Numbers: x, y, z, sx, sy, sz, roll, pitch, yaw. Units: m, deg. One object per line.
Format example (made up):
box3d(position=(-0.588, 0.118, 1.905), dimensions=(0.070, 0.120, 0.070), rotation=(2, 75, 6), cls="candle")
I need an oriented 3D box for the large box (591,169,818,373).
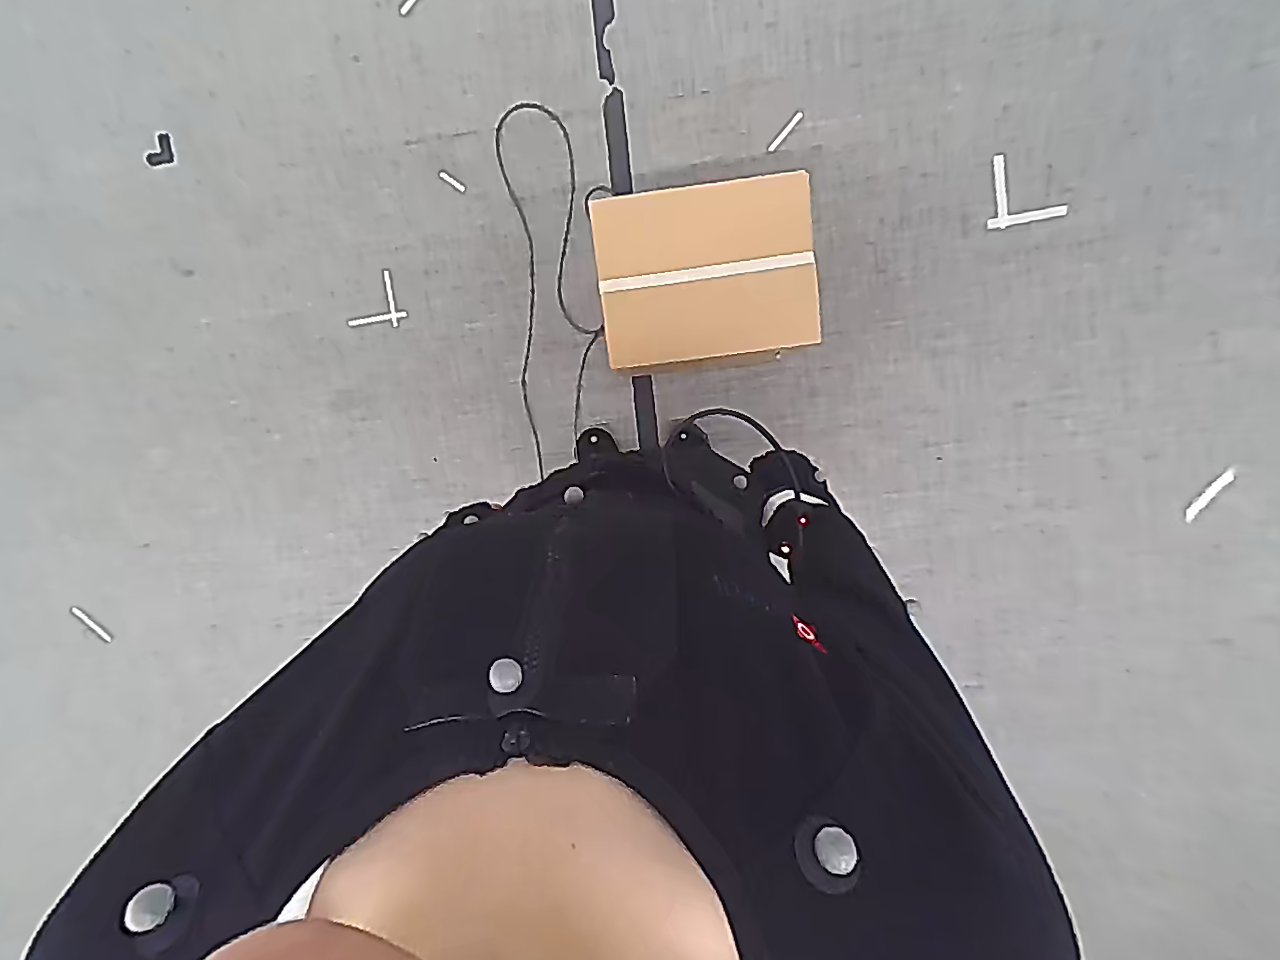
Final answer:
box3d(position=(0.130, -0.414, 1.161), dimensions=(0.408, 0.320, 0.320), rotation=(-7, 97, 3), cls="large box")
